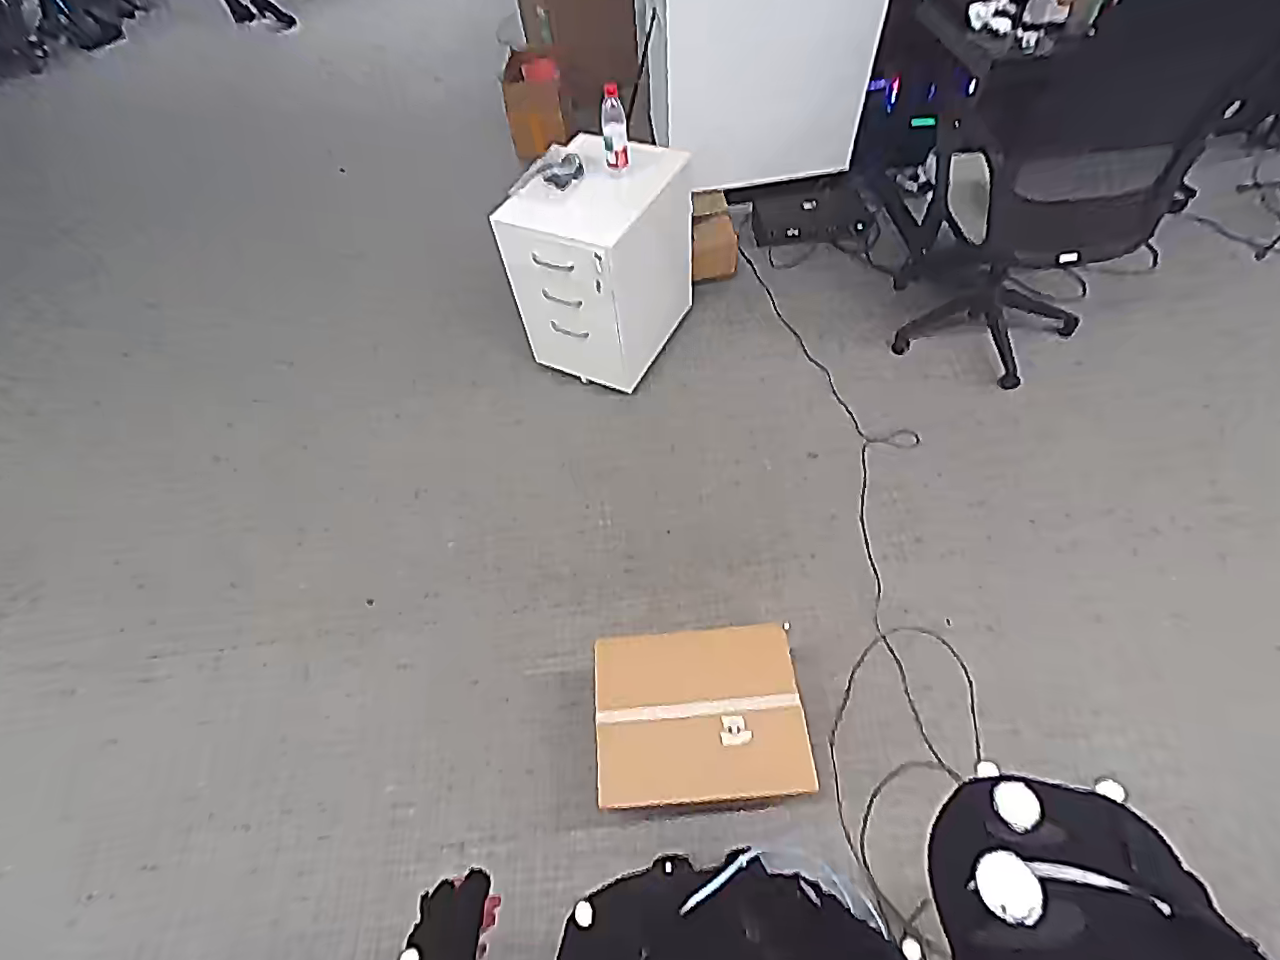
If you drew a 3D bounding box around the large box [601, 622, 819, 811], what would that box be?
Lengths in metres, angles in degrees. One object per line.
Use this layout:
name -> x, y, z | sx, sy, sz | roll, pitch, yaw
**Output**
large box -> 0.132, 0.532, 1.198 | 0.408, 0.320, 0.320 | -5, 57, 1
